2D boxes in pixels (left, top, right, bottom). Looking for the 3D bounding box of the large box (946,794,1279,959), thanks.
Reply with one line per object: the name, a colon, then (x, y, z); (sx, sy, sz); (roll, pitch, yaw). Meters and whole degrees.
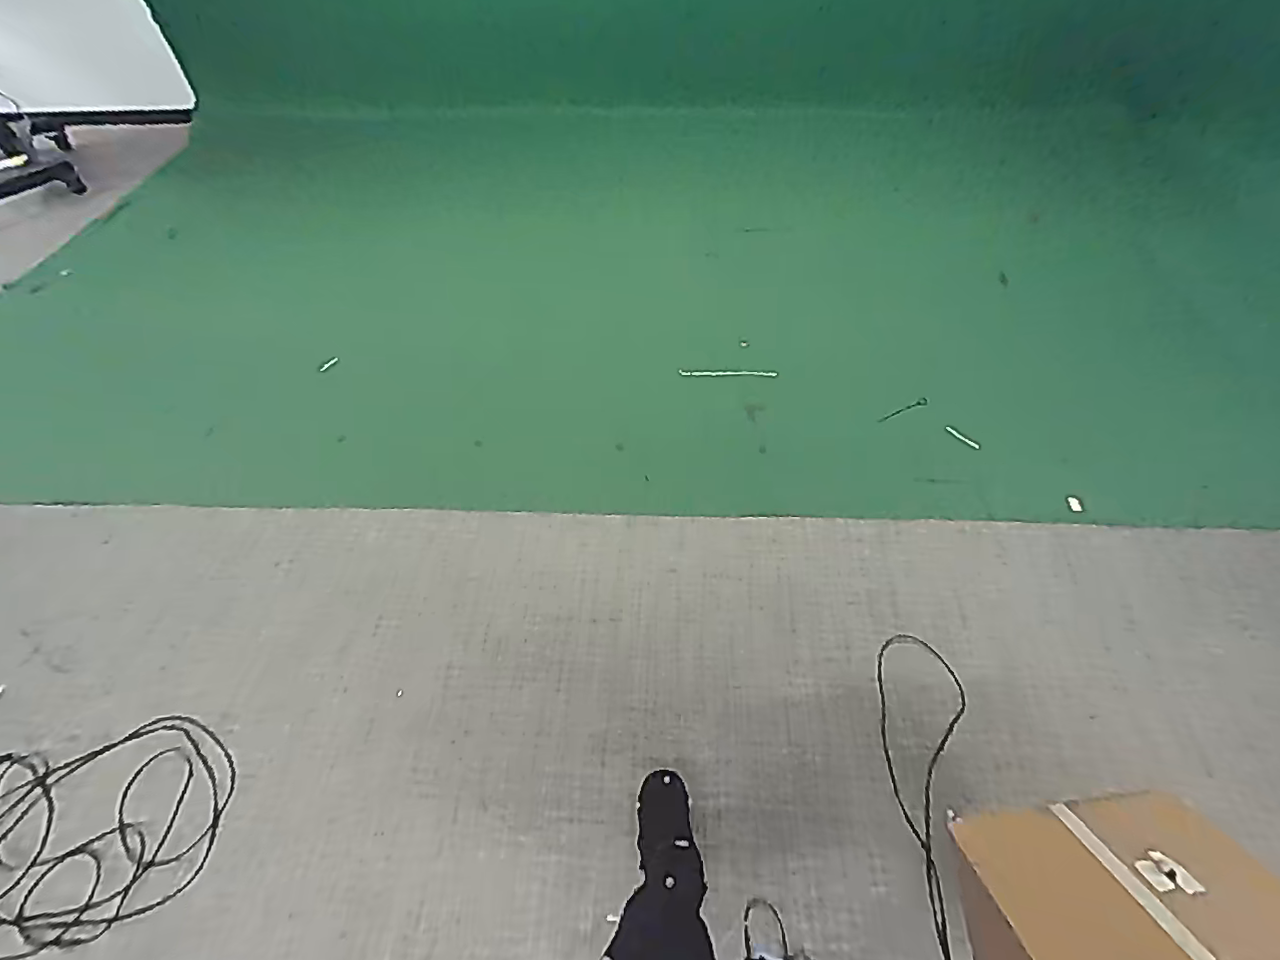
large box: (0.632, 0.656, 0.621); (0.320, 0.408, 0.320); (-12, 94, 6)
